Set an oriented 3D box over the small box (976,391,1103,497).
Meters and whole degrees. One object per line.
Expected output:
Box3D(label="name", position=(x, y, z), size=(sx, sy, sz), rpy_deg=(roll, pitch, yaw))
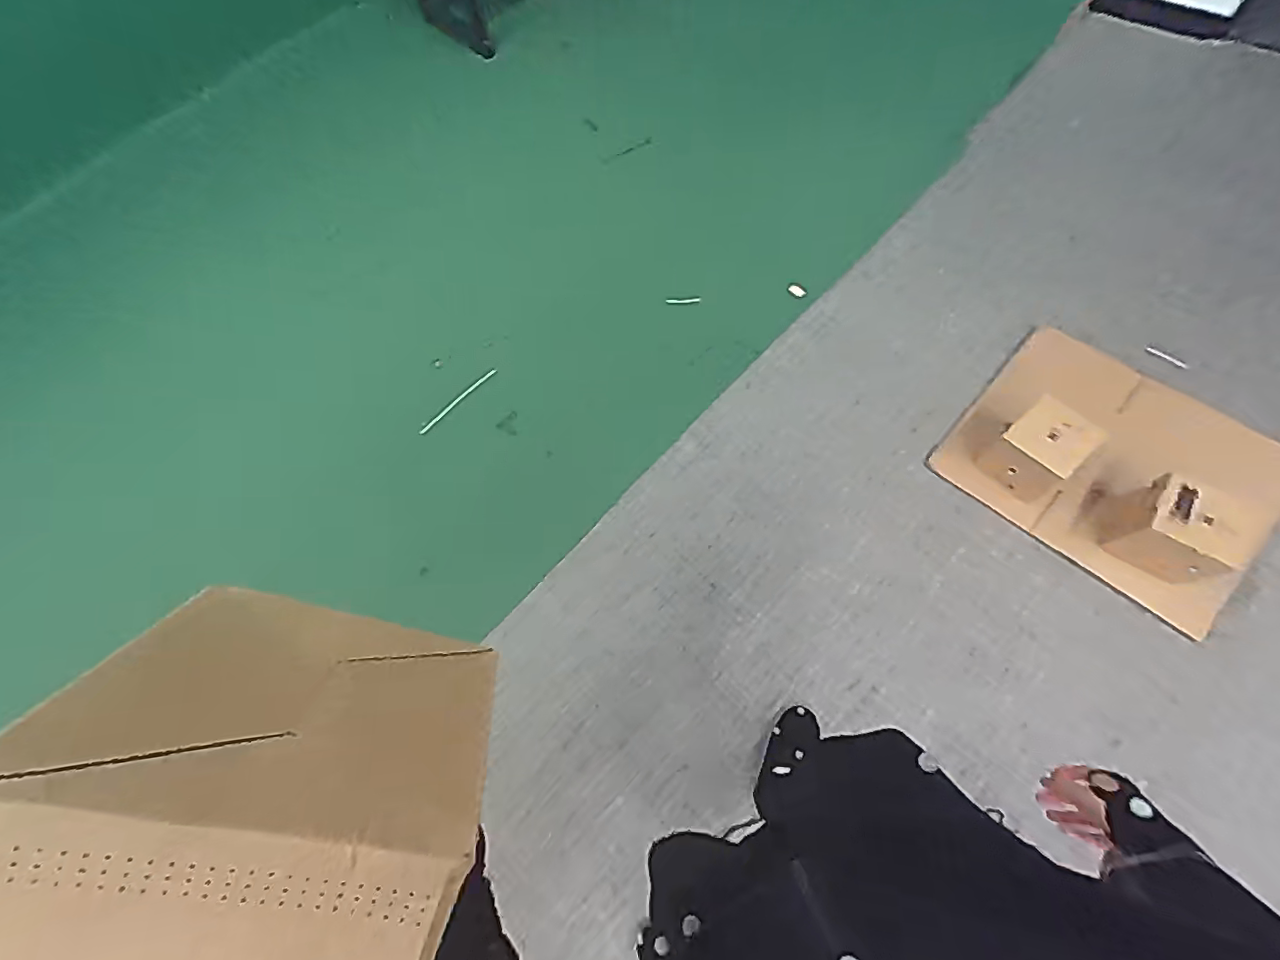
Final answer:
Box3D(label="small box", position=(0.998, -0.084, 1.374), size=(0.179, 0.176, 0.168), rpy_deg=(-40, 68, -10))
